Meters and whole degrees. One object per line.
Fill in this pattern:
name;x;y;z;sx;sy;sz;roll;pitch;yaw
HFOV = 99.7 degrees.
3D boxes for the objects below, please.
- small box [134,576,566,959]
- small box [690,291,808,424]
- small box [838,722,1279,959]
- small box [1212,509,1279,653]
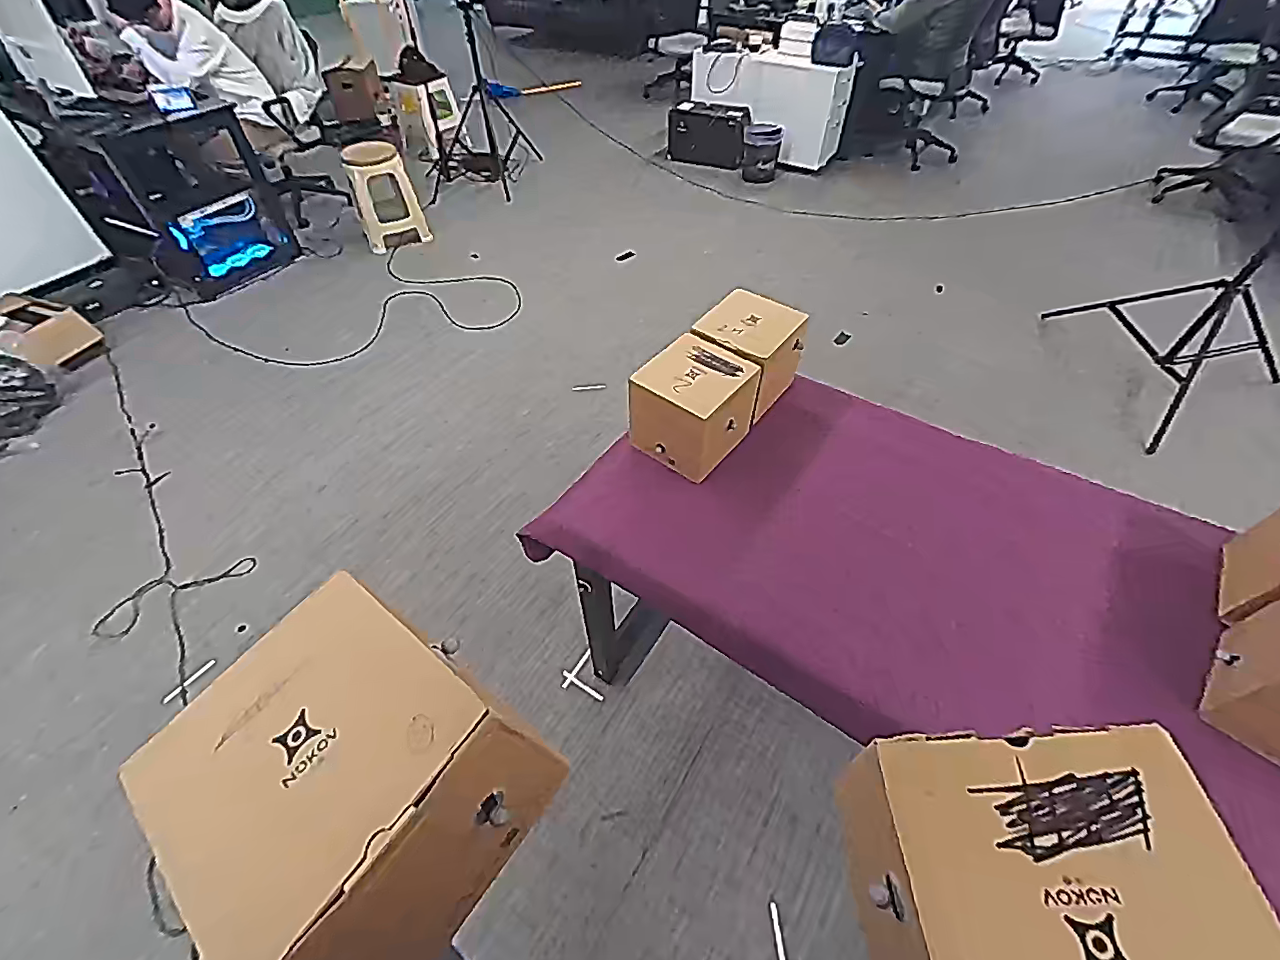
small box;-0.179;0.205;0.381;0.179;0.176;0.168;25;61;30
small box;0.212;-0.248;1.098;0.168;0.176;0.179;31;57;24
small box;0.235;0.266;0.336;0.168;0.176;0.179;-6;54;5
small box;0.971;0.145;0.761;0.168;0.176;0.179;31;55;23
